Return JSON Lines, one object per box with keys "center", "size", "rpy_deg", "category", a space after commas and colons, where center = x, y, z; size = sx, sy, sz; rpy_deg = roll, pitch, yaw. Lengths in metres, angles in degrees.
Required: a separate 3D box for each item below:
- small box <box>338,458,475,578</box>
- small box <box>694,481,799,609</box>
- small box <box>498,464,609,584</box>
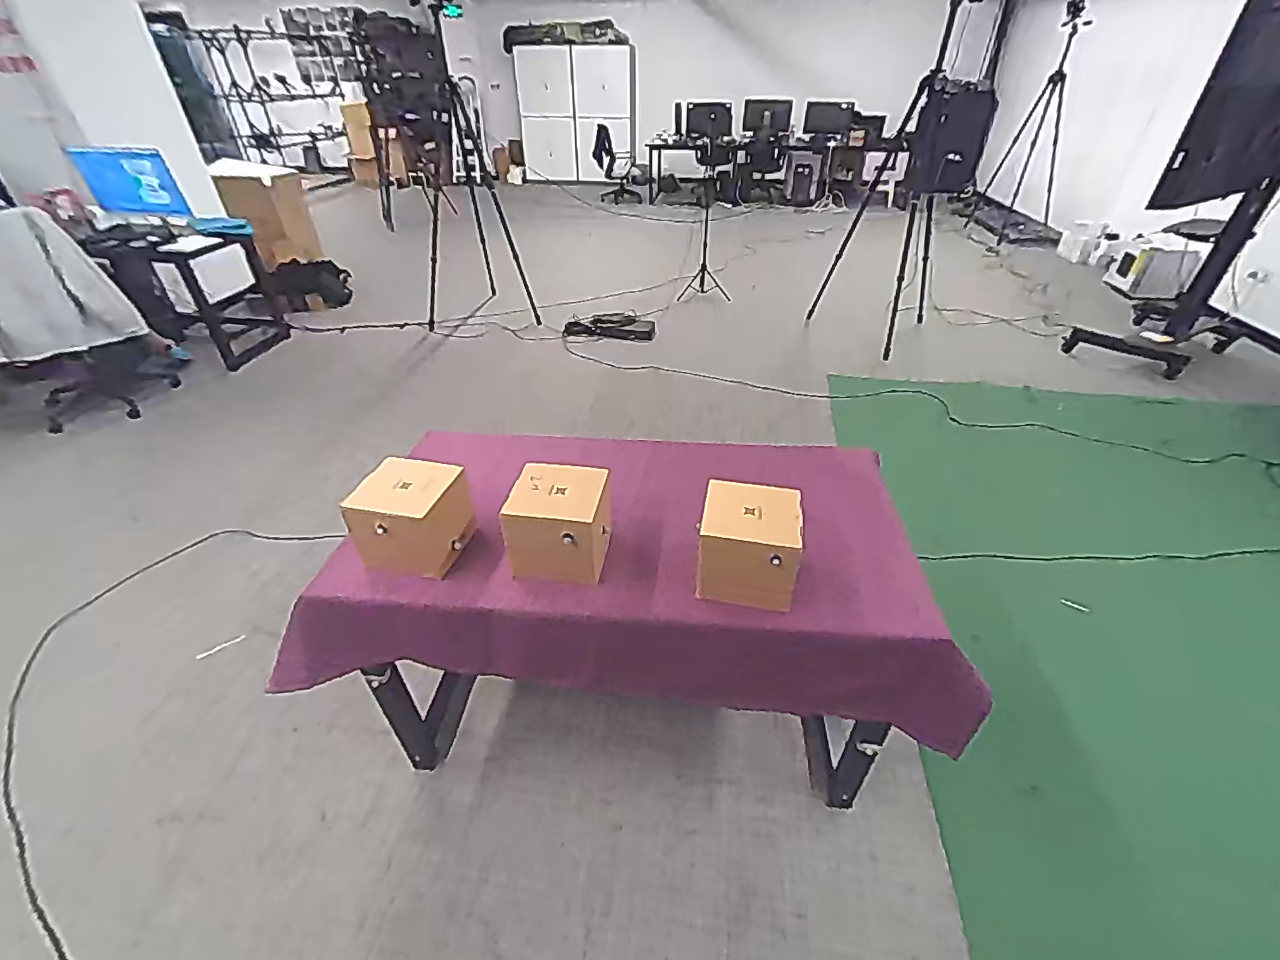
{"center": [-0.461, 0.077, 1.096], "size": [0.179, 0.176, 0.168], "rpy_deg": [8, 38, 10], "category": "small box"}
{"center": [0.199, 0.124, 1.029], "size": [0.179, 0.176, 0.168], "rpy_deg": [7, 38, 10], "category": "small box"}
{"center": [-0.161, 0.088, 1.077], "size": [0.179, 0.176, 0.168], "rpy_deg": [5, 36, 7], "category": "small box"}
